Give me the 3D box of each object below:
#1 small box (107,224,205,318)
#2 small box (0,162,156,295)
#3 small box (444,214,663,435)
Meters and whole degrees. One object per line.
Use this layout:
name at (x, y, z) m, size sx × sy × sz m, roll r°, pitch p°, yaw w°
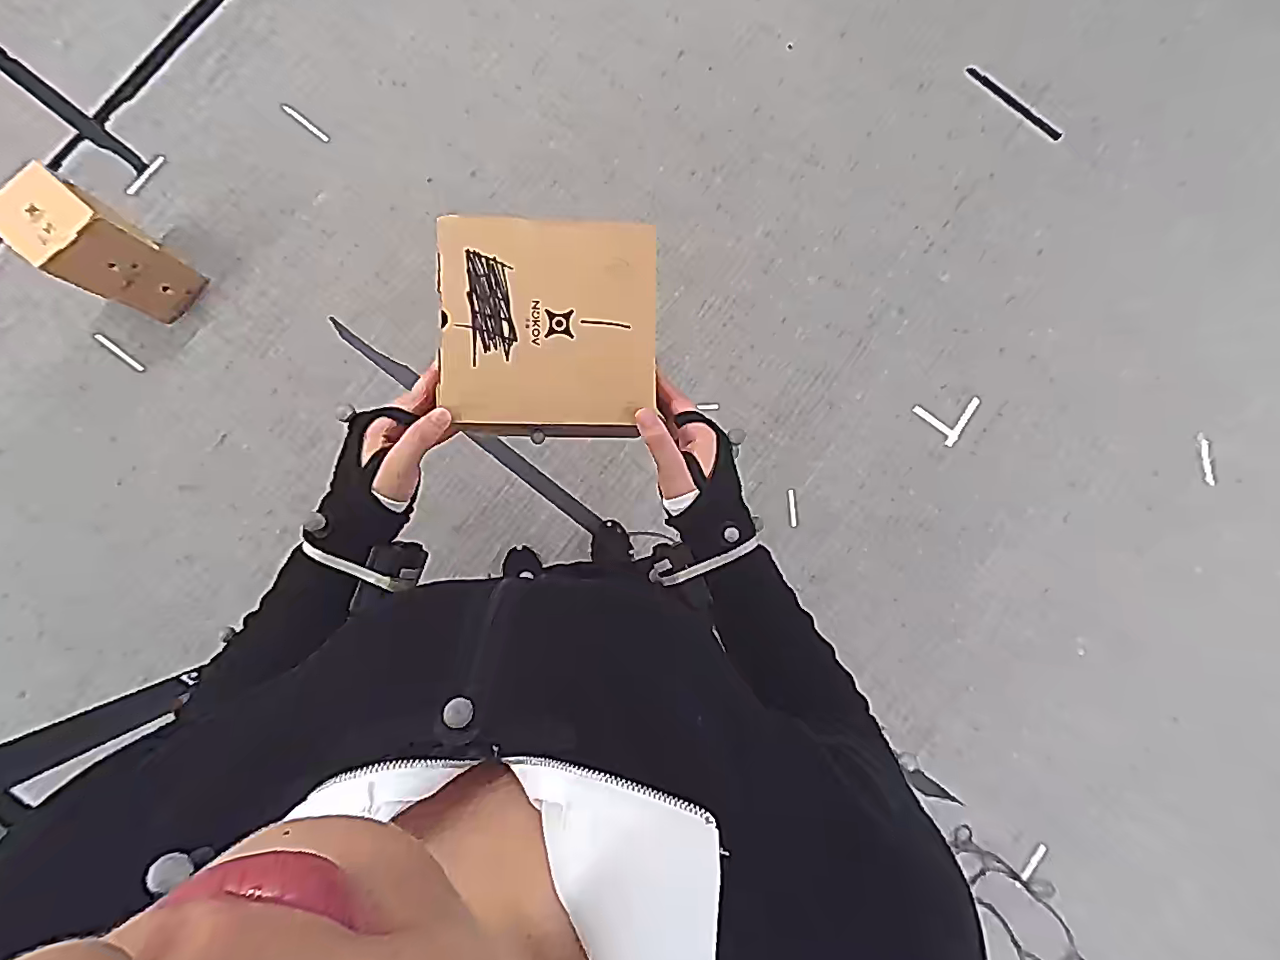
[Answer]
small box at (-1.275, -0.536, 1.372) m, size 0.179 × 0.176 × 0.168 m, roll 37°, pitch 85°, yaw -2°
small box at (-1.263, -0.549, 1.207) m, size 0.179 × 0.176 × 0.168 m, roll 42°, pitch 85°, yaw -1°
small box at (-0.075, -0.129, 0.514) m, size 0.179 × 0.176 × 0.168 m, roll 0°, pitch 92°, yaw -5°
